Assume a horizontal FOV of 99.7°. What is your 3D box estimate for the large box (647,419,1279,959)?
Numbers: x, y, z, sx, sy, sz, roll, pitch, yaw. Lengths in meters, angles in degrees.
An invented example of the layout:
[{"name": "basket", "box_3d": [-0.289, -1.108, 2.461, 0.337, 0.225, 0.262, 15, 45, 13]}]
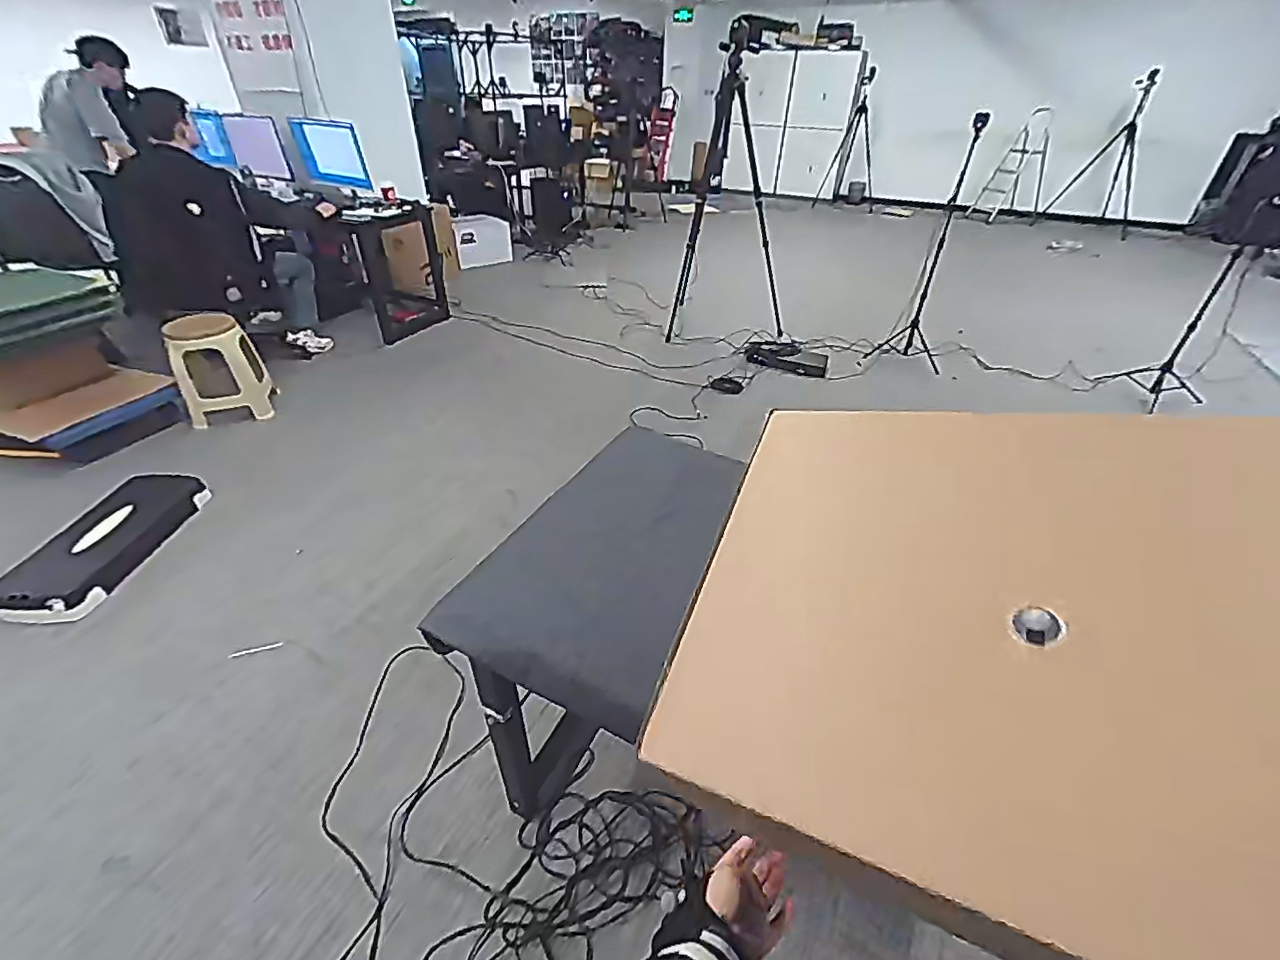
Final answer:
[{"name": "large box", "box_3d": [0.280, 0.170, 0.410, 0.408, 0.320, 0.320, 4, 55, 33]}]
